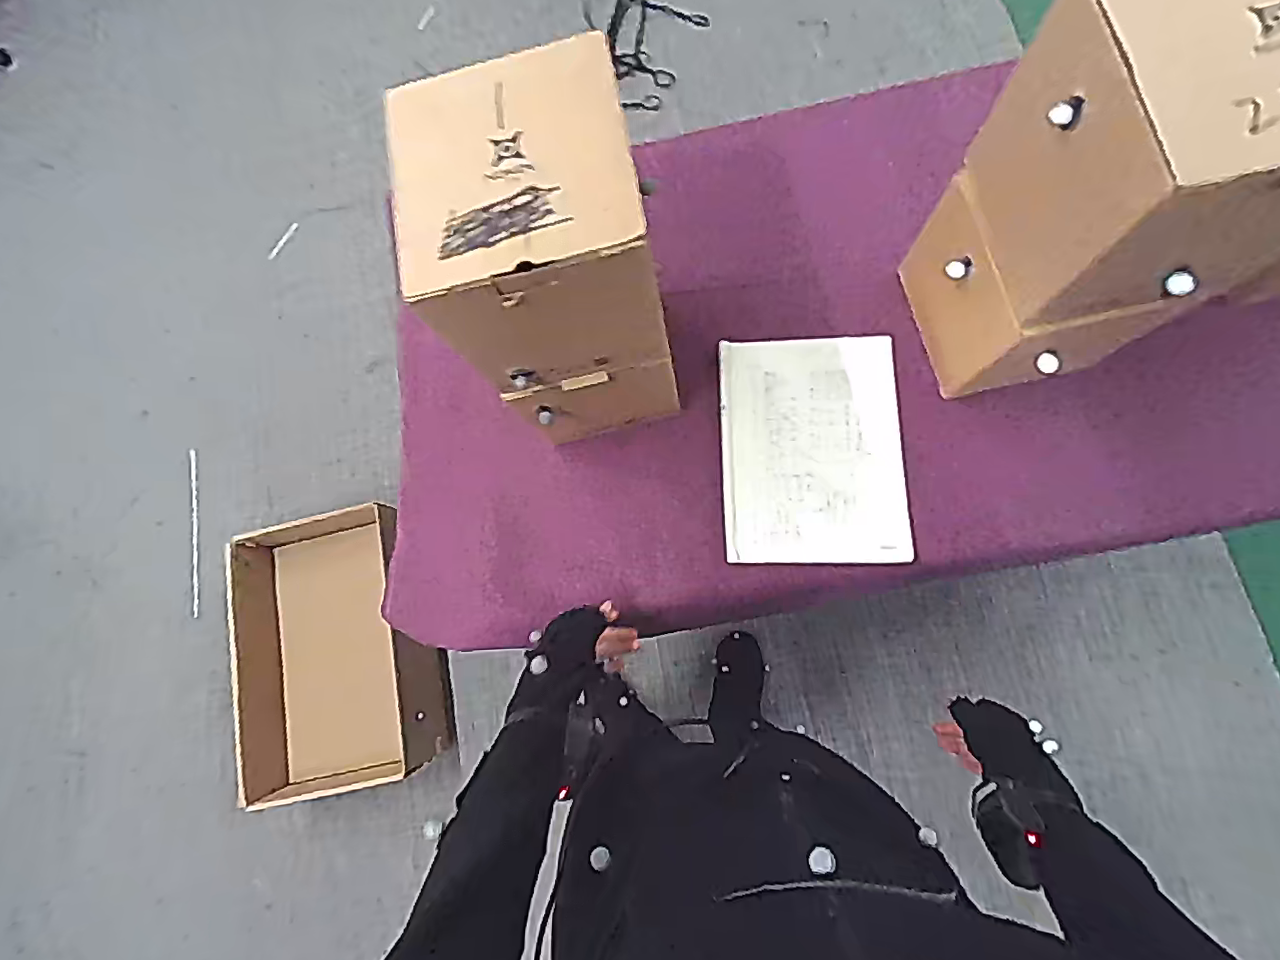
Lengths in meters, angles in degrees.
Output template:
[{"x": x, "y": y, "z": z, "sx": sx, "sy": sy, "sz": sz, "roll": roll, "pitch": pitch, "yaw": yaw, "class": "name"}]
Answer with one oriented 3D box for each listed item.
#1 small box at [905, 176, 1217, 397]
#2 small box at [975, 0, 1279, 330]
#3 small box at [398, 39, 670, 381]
[{"x": 0.402, "y": -0.198, "z": 0.555, "sx": 0.168, "sy": 0.176, "sz": 0.179, "roll": -12, "pitch": 77, "yaw": 5, "class": "small box"}, {"x": 0.382, "y": -0.237, "z": 0.396, "sx": 0.168, "sy": 0.176, "sz": 0.179, "roll": -9, "pitch": 77, "yaw": 6, "class": "small box"}, {"x": -0.073, "y": -0.196, "z": 0.445, "sx": 0.168, "sy": 0.176, "sz": 0.179, "roll": -11, "pitch": 75, "yaw": 5, "class": "small box"}]
